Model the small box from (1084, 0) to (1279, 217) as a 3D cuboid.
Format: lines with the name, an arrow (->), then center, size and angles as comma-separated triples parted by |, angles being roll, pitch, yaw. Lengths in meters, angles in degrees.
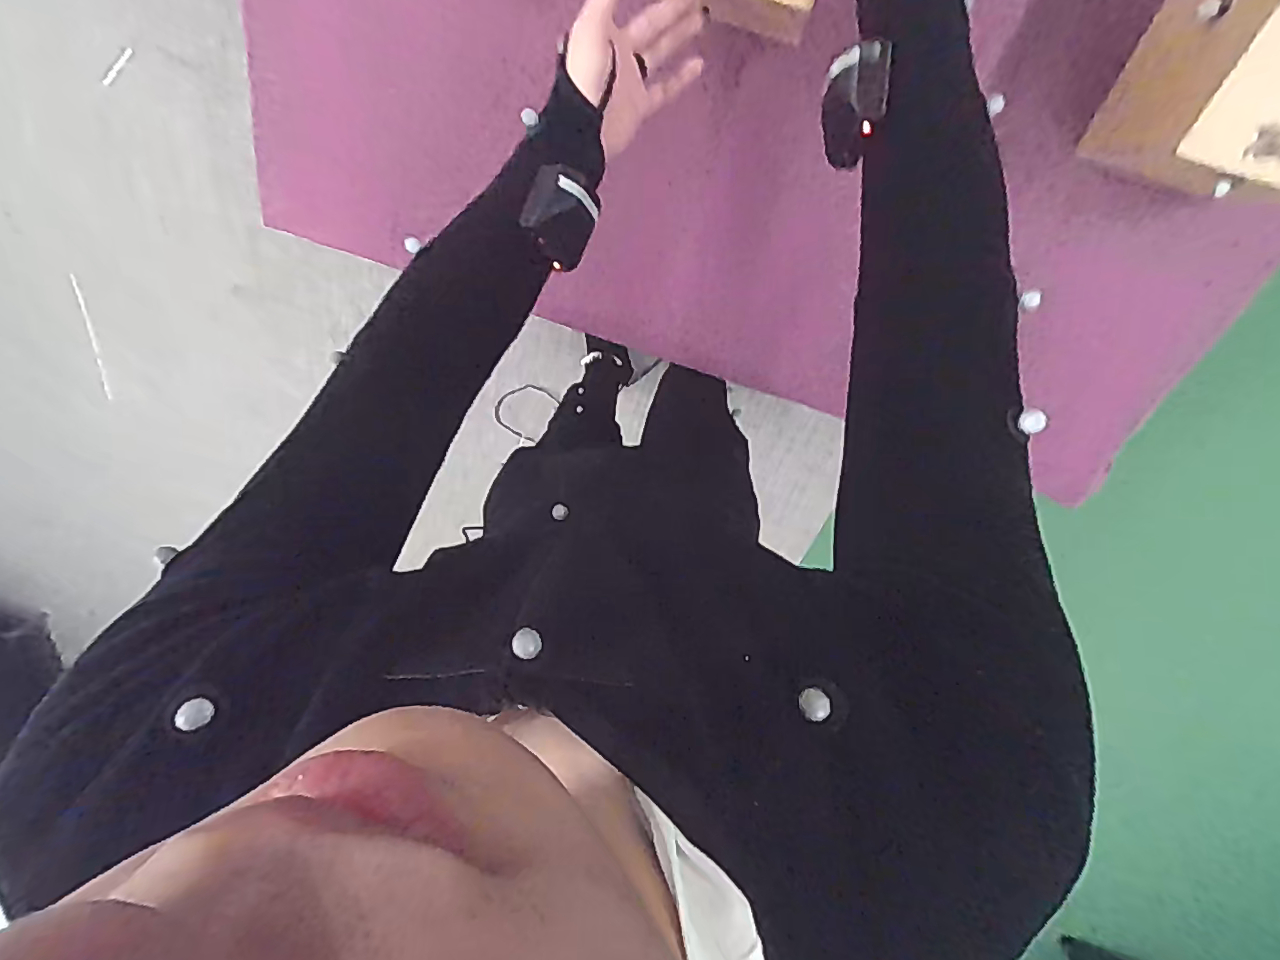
small box -> 0.542, -0.340, 0.461 | 0.168, 0.176, 0.179 | 19, 121, 2

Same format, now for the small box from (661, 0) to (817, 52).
small box -> 0.099, -0.506, 0.460 | 0.168, 0.176, 0.179 | 20, 122, 1
